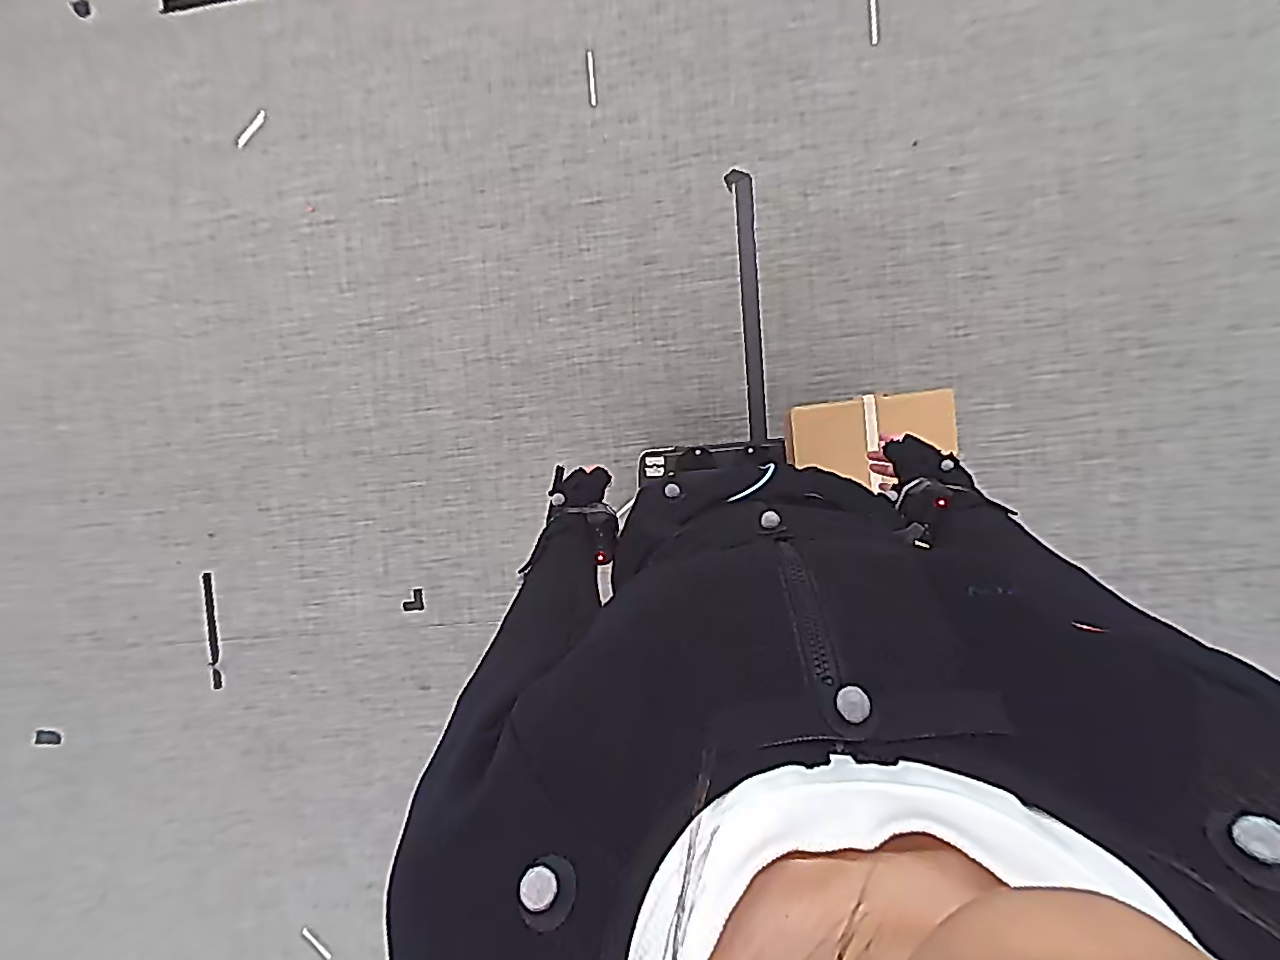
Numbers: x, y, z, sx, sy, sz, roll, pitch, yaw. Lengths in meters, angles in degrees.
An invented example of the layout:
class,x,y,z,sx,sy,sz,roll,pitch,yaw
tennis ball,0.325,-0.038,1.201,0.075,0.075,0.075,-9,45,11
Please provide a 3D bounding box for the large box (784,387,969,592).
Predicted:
class,x,y,z,sx,sy,sz,roll,pitch,yaw
large box,0.521,0.011,1.256,0.320,0.320,0.408,-6,95,13
